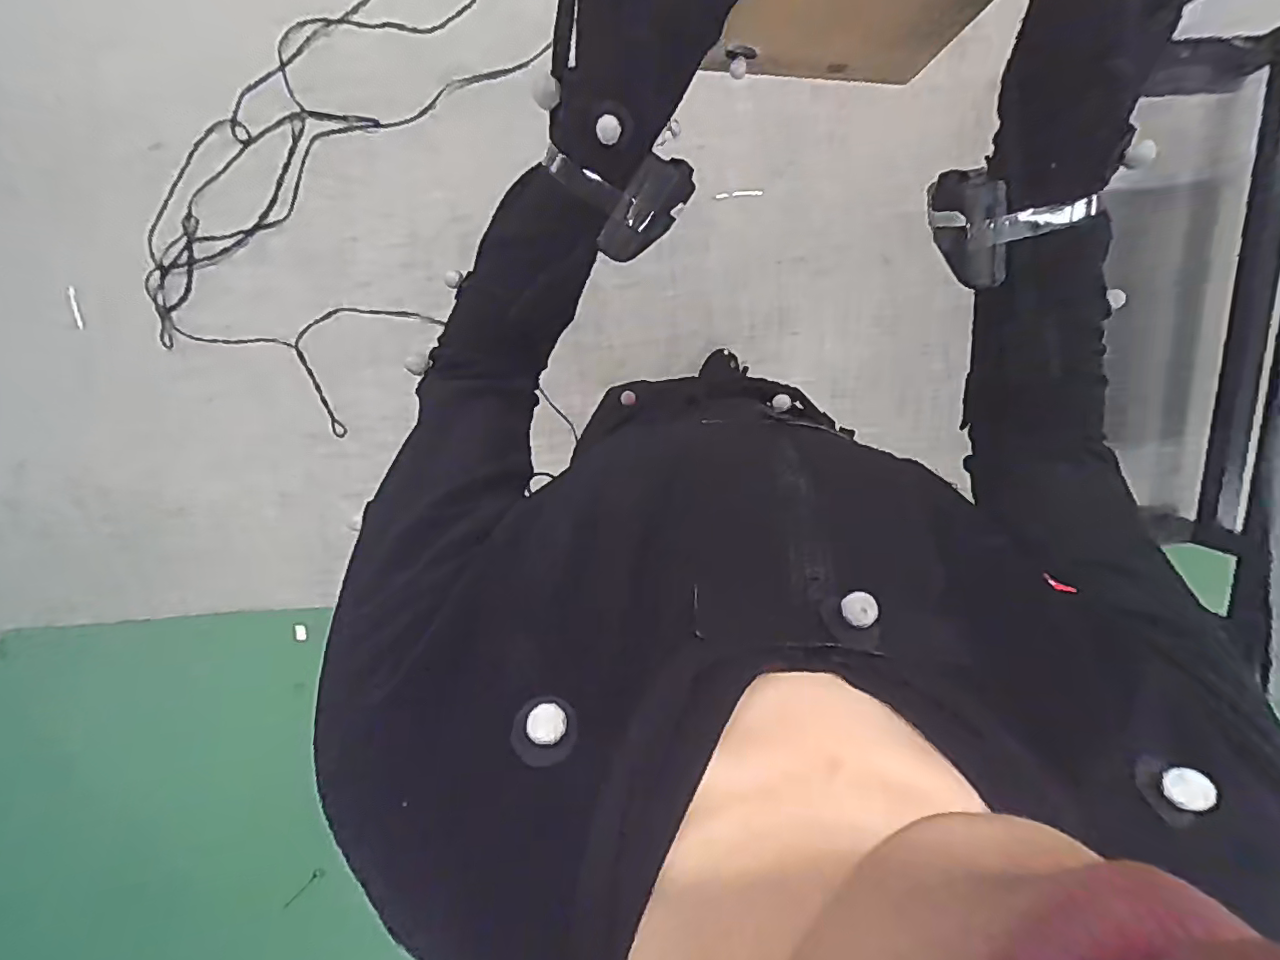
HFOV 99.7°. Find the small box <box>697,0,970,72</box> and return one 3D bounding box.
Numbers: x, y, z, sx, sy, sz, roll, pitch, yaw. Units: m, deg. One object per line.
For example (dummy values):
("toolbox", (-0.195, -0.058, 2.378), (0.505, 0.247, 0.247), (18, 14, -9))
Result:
("small box", (0.125, -0.368, 0.304), (0.168, 0.176, 0.179), (3, 103, -1))
